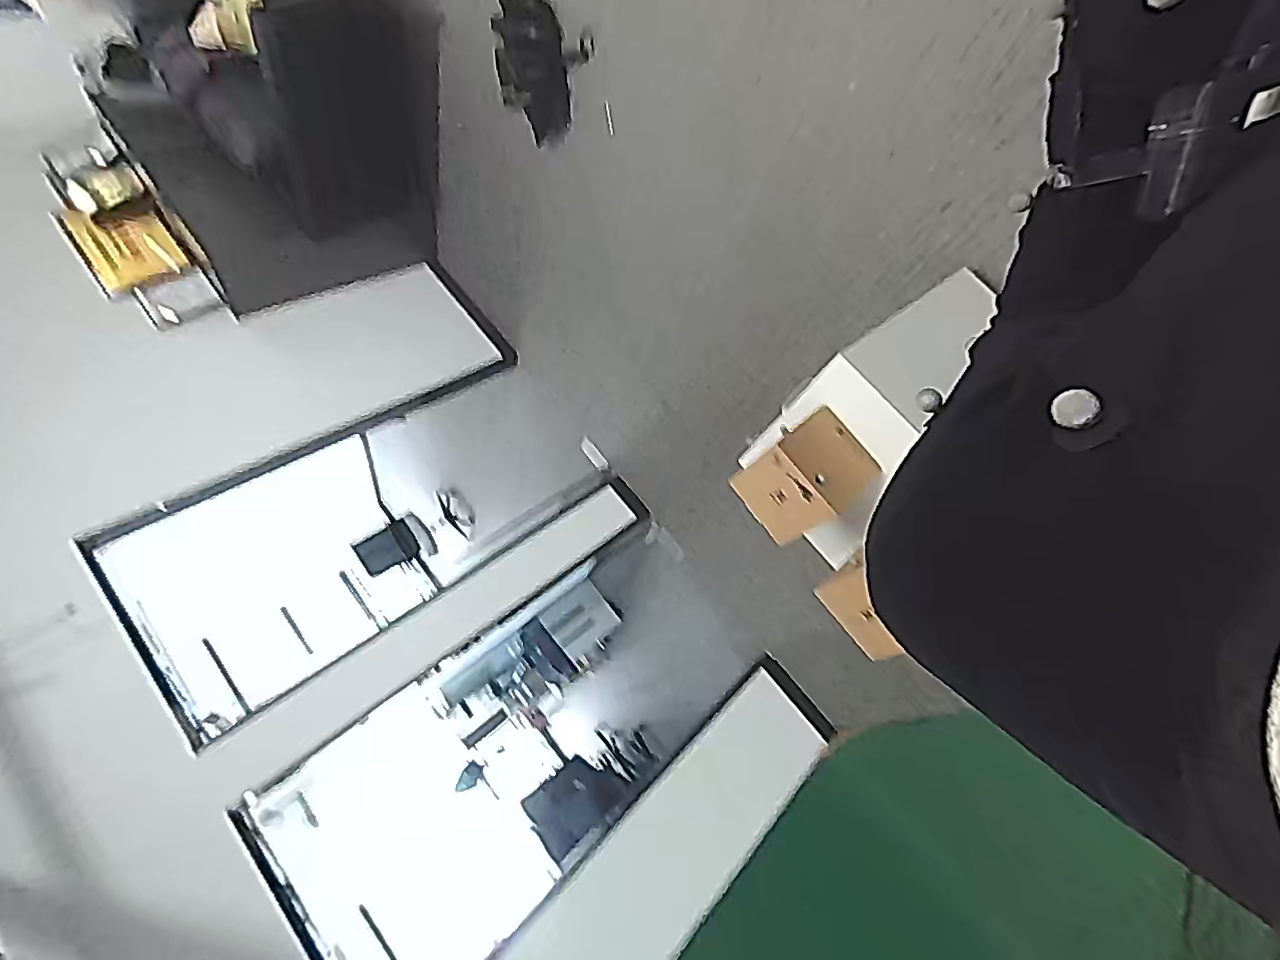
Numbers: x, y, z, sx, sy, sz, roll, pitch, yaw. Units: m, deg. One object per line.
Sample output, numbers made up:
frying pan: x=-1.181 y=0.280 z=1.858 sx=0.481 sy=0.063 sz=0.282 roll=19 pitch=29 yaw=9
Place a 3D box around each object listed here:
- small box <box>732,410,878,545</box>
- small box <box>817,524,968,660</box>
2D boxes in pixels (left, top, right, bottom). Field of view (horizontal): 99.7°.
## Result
small box: x=0.319 y=-0.005 z=1.050 sx=0.168 sy=0.176 sz=0.179 roll=51 pitch=149 yaw=7
small box: x=0.480 y=0.209 z=1.019 sx=0.168 sy=0.176 sz=0.179 roll=51 pitch=149 yaw=11
